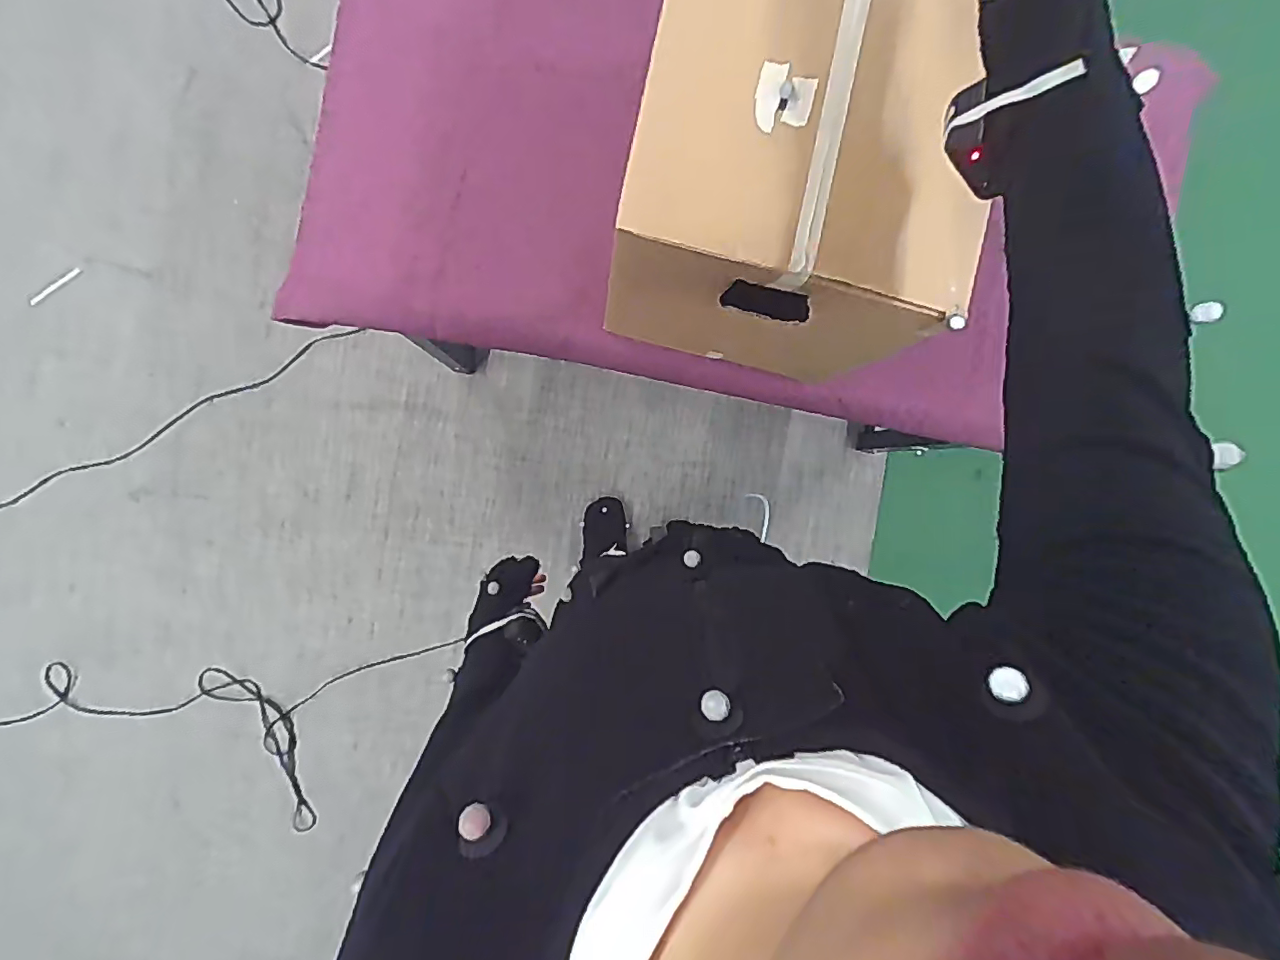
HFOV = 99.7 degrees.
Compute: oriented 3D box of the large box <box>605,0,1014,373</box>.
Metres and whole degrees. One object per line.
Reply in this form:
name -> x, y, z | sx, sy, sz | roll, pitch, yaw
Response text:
large box -> 0.154, -0.375, 0.619 | 0.320, 0.320, 0.408 | 13, 90, -5
